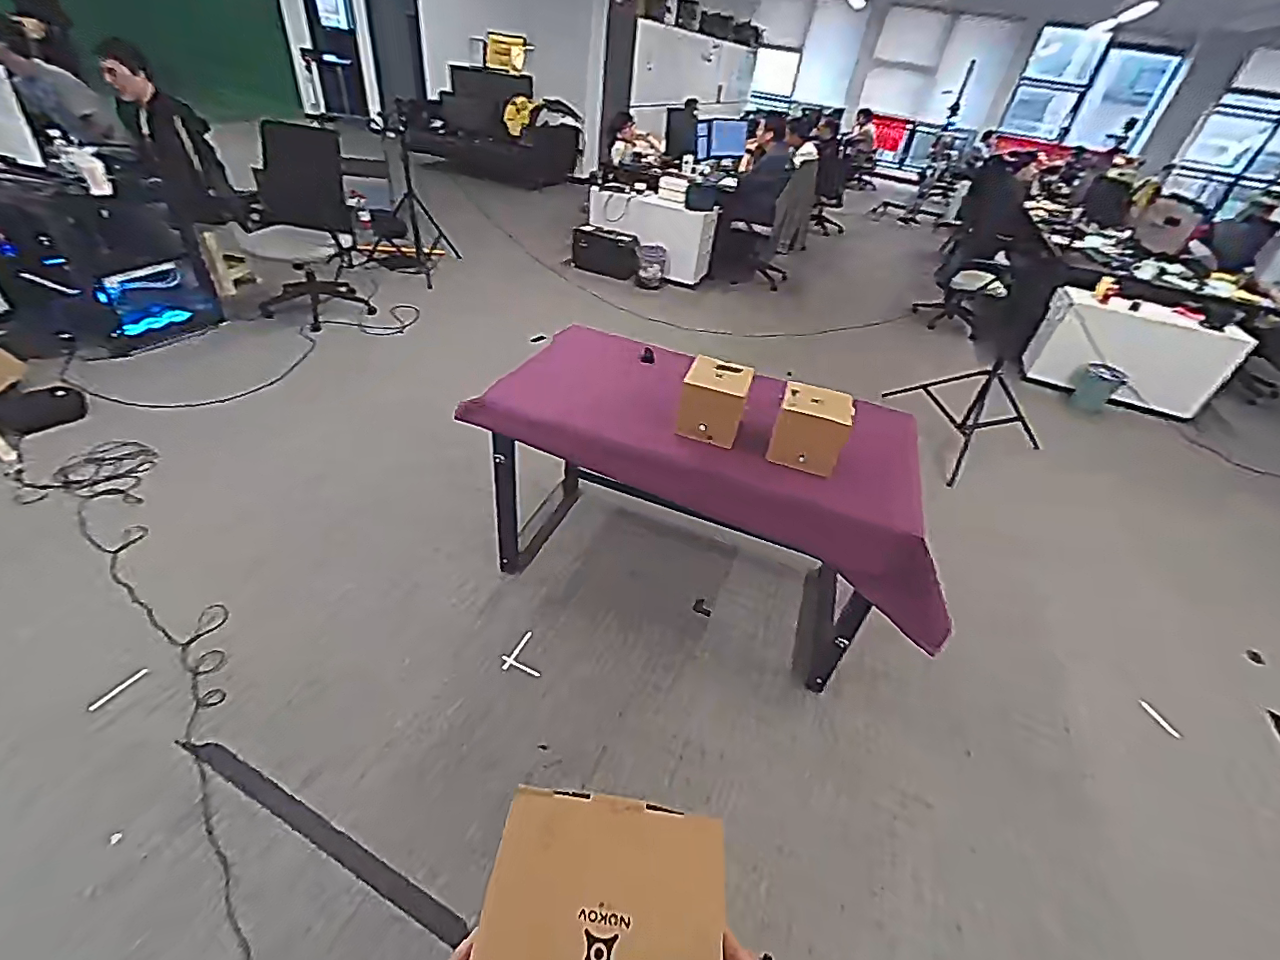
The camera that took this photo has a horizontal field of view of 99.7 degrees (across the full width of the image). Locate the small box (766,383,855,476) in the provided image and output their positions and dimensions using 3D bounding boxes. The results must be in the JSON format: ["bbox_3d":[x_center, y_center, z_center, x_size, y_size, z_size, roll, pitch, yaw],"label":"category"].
[{"bbox_3d":[0.454,-0.132,1.443,0.179,0.176,0.168,17,38,11],"label":"small box"}]

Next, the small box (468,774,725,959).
[{"bbox_3d":[-0.033,0.357,0.410,0.168,0.176,0.179,8,44,2],"label":"small box"}]

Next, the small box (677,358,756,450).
[{"bbox_3d":[0.209,-0.211,1.498,0.168,0.176,0.179,16,39,11],"label":"small box"}]
